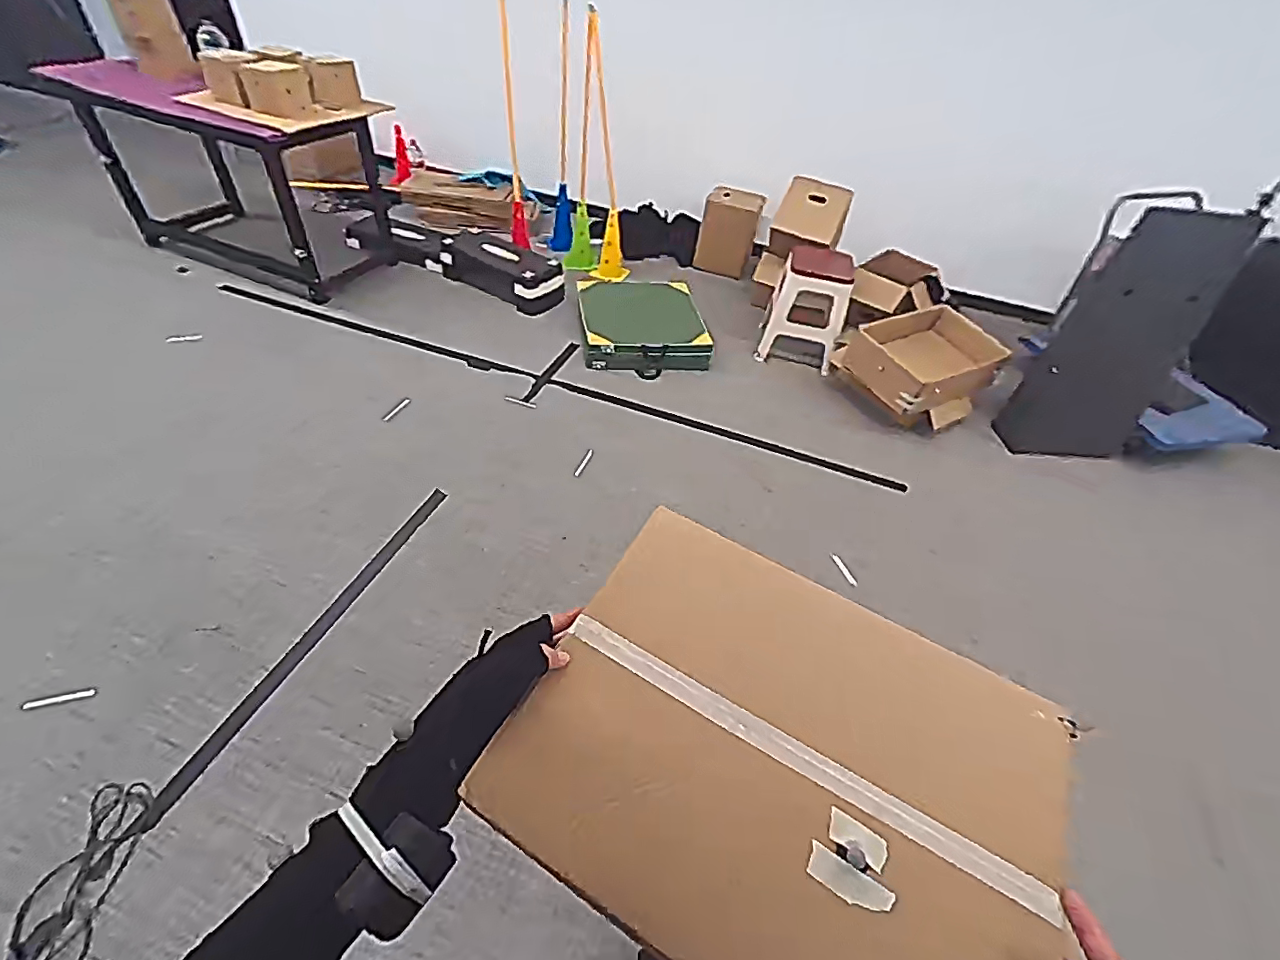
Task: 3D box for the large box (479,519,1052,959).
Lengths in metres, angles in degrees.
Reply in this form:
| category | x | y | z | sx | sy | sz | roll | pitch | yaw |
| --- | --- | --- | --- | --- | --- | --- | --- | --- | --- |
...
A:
| category | x | y | z | sx | sy | sz | roll | pitch | yaw |
| --- | --- | --- | --- | --- | --- | --- | --- | --- | --- |
| large box | 0.108 | 0.313 | 0.561 | 0.408 | 0.320 | 0.320 | 27 | 55 | 16 |
